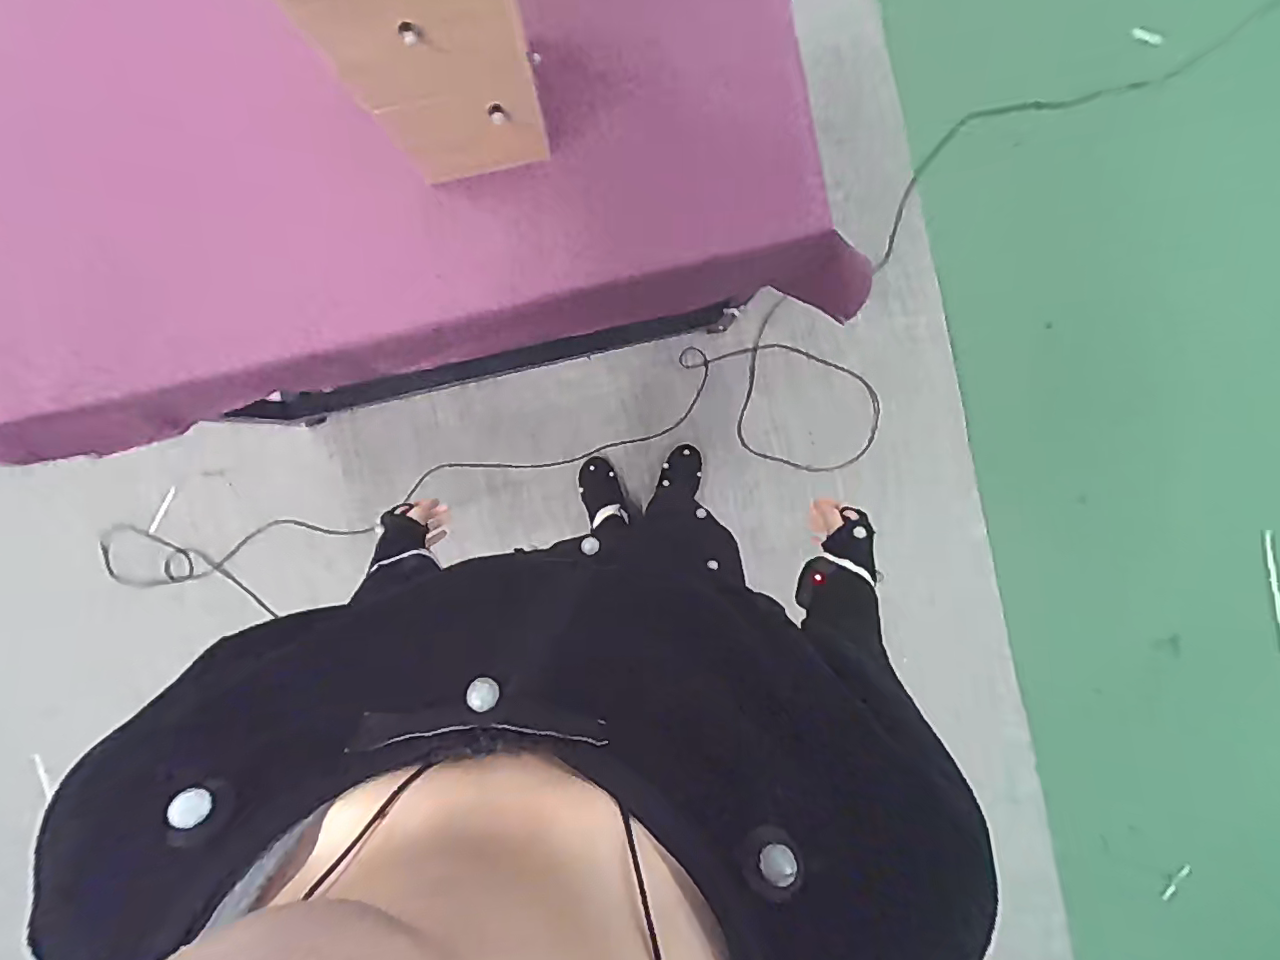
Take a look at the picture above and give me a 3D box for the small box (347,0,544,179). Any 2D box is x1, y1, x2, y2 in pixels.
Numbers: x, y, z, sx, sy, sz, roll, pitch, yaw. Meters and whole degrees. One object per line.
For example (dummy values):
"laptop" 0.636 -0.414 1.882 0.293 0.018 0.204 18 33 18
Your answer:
"small box" -0.219 -0.496 0.649 0.179 0.176 0.168 -12 94 0
